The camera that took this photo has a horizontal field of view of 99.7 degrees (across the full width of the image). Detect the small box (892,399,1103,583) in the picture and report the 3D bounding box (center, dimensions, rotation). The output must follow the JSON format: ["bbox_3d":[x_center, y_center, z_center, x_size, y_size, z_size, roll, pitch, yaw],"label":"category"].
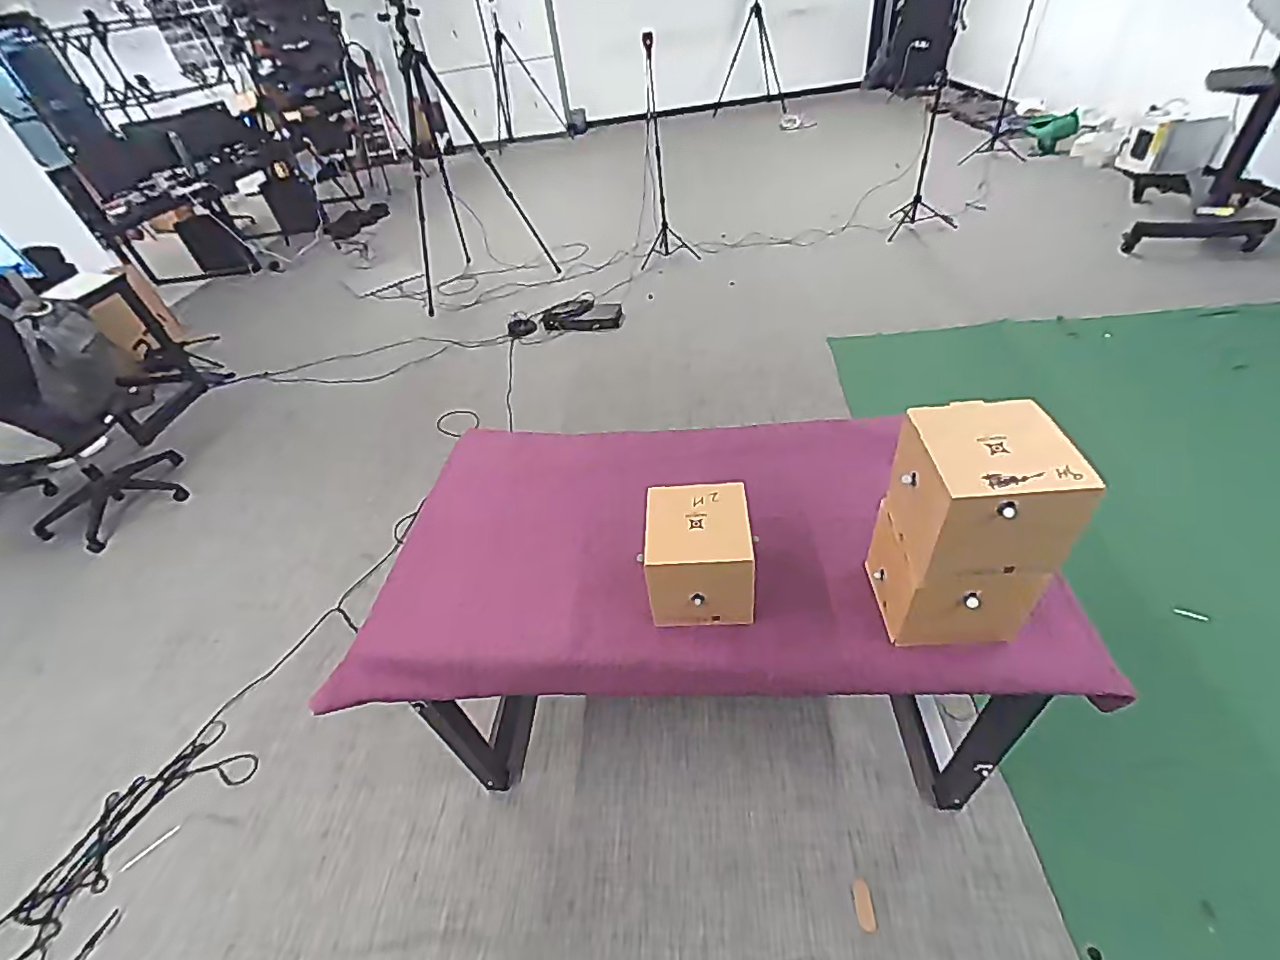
[{"bbox_3d":[0.454,0.016,0.727,0.168,0.176,0.179,-6,42,9],"label":"small box"}]

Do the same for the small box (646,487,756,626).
[{"bbox_3d":[0.107,0.135,0.920,0.168,0.176,0.179,-4,41,8],"label":"small box"}]

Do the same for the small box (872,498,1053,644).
[{"bbox_3d":[0.477,0.137,0.835,0.179,0.176,0.168,-6,43,8],"label":"small box"}]
